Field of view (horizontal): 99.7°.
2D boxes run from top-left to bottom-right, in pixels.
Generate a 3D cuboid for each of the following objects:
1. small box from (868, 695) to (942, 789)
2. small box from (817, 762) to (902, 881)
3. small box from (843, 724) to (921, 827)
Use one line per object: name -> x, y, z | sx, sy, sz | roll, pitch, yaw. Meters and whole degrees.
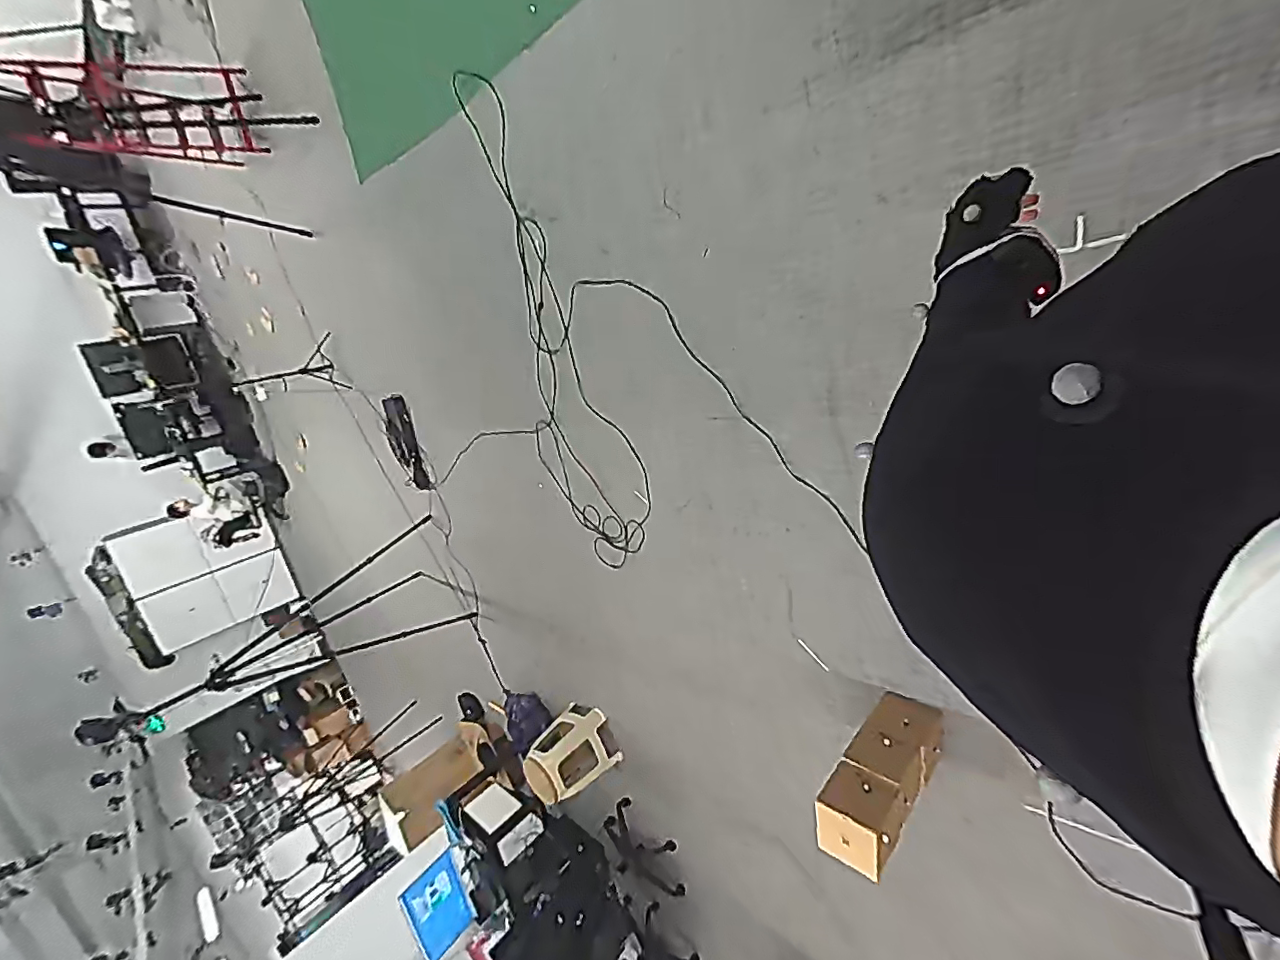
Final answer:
small box -> 0.826, 0.807, 1.685 | 0.179, 0.176, 0.168 | 7, 115, 43
small box -> 0.602, 0.924, 1.477 | 0.168, 0.176, 0.179 | 8, 115, 44
small box -> 0.710, 0.861, 1.581 | 0.168, 0.176, 0.179 | 9, 115, 43
